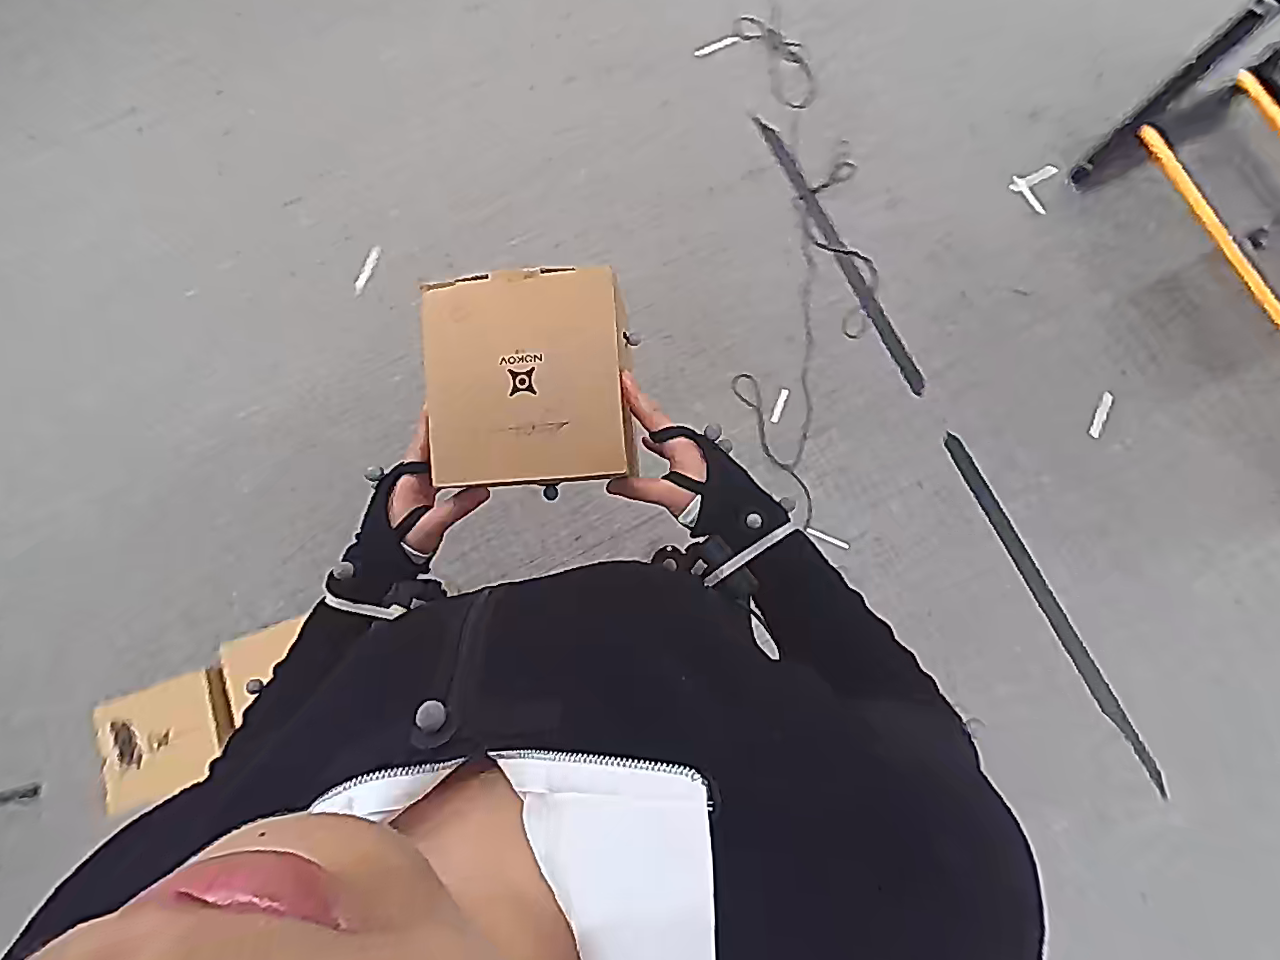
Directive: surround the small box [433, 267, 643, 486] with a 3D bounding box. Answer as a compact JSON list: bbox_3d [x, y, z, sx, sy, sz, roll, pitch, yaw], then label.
[{"bbox_3d":[-0.085,-0.085,0.524,0.168,0.176,0.179,-3,90,4],"label":"small box"}]
